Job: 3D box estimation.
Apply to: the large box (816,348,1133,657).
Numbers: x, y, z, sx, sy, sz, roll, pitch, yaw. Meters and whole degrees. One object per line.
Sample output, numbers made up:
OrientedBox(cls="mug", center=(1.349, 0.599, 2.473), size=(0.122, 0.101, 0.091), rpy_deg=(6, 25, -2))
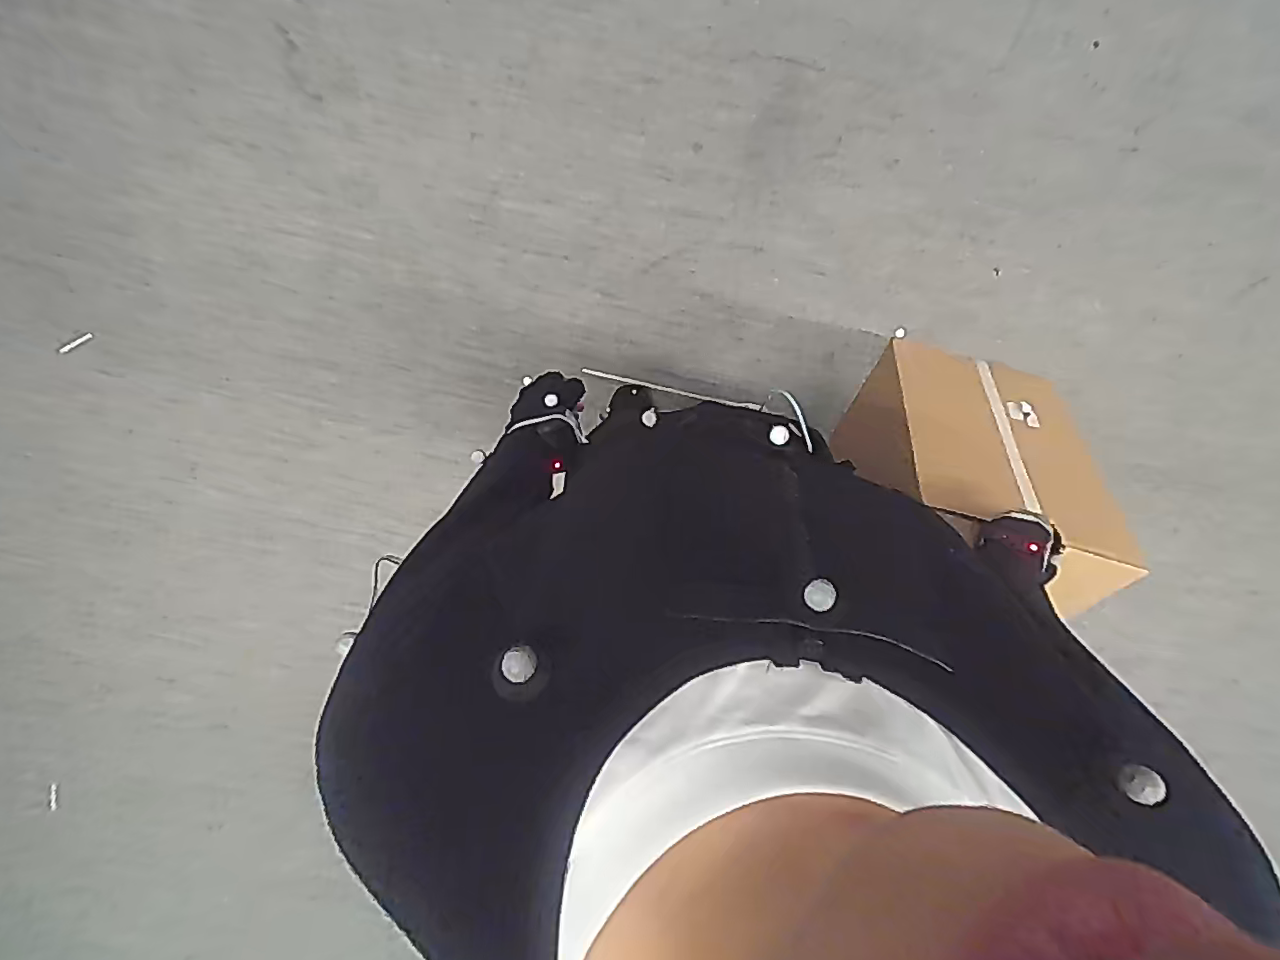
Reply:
OrientedBox(cls="large box", center=(0.522, 0.036, 0.959), size=(0.320, 0.408, 0.320), rpy_deg=(17, 137, 0))
